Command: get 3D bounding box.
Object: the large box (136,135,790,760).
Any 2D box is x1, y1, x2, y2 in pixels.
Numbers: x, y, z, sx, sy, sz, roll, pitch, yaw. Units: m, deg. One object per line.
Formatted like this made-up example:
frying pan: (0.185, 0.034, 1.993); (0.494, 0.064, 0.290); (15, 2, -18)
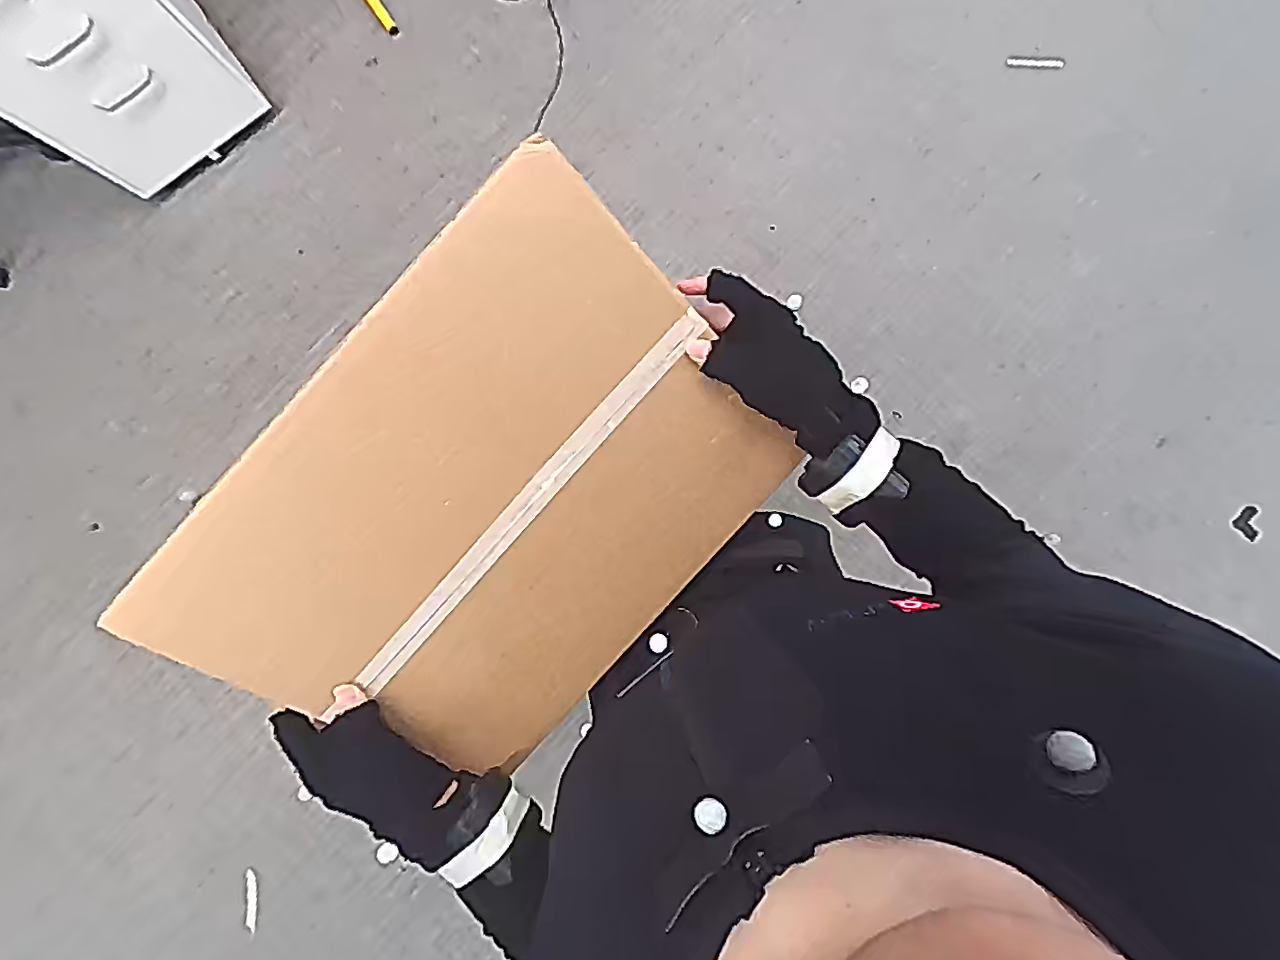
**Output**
large box: (-0.146, -0.028, 0.543); (0.408, 0.320, 0.320); (-47, 118, 2)
